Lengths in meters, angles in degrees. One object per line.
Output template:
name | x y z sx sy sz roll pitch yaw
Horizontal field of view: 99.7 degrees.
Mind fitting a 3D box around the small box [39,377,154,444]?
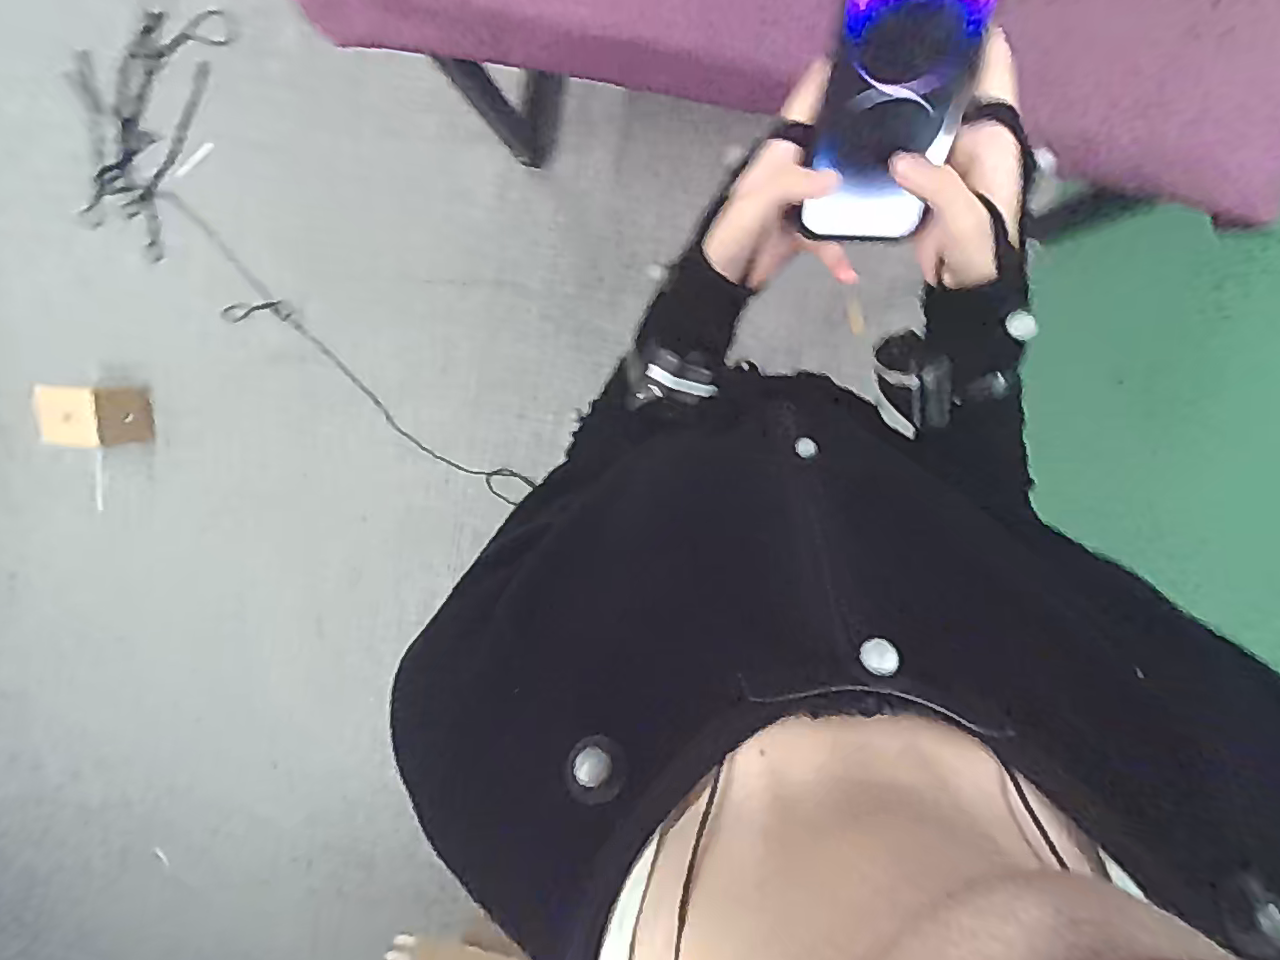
small box | -1.562 -0.206 1.569 0.179 0.176 0.168 7 102 5
